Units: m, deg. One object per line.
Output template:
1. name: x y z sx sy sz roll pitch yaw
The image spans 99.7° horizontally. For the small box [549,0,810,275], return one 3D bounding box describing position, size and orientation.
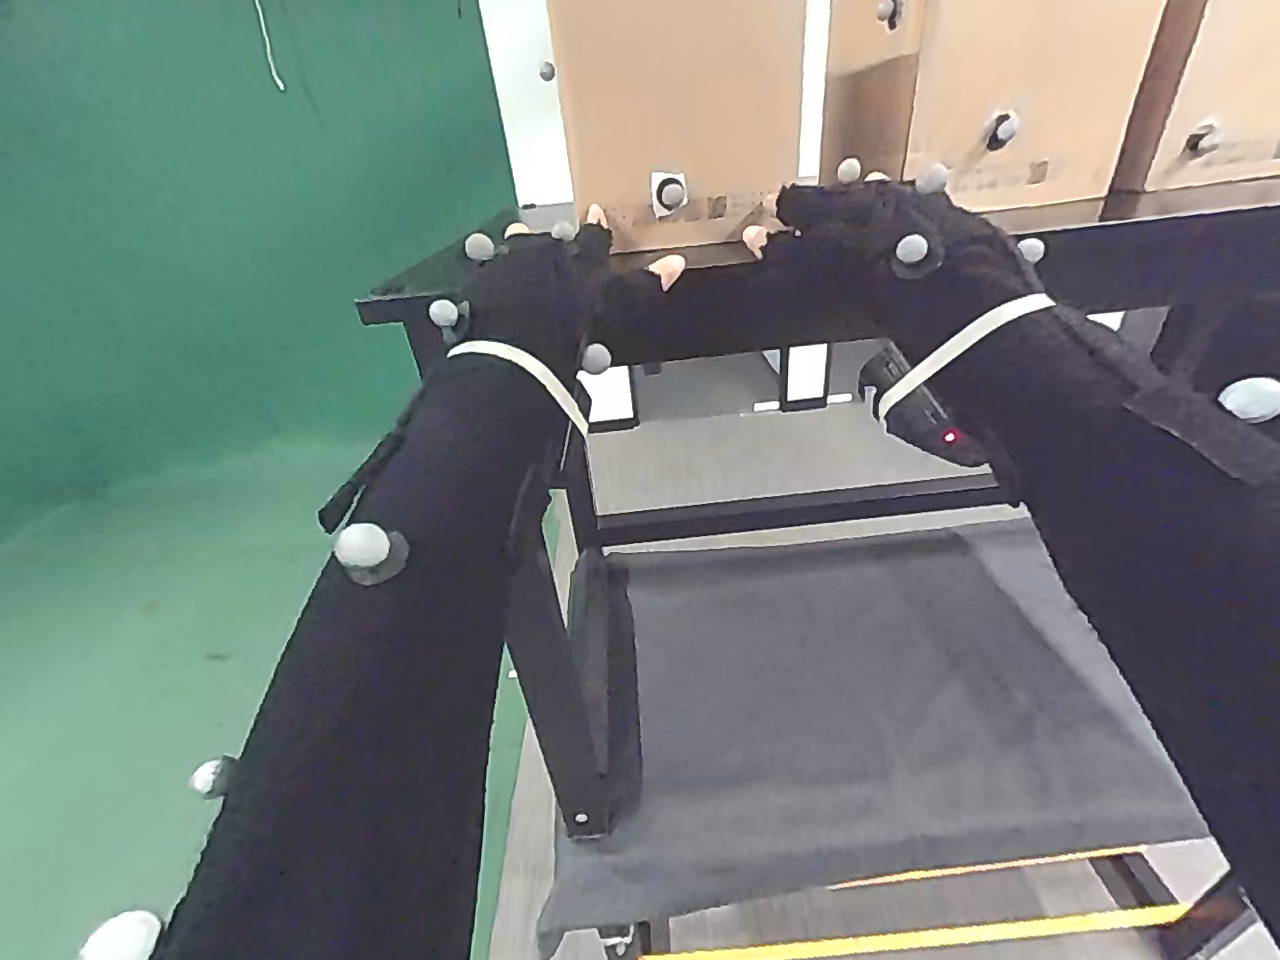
1. small box: 0.026 -0.275 0.444 0.168 0.176 0.179 -8 33 -1
